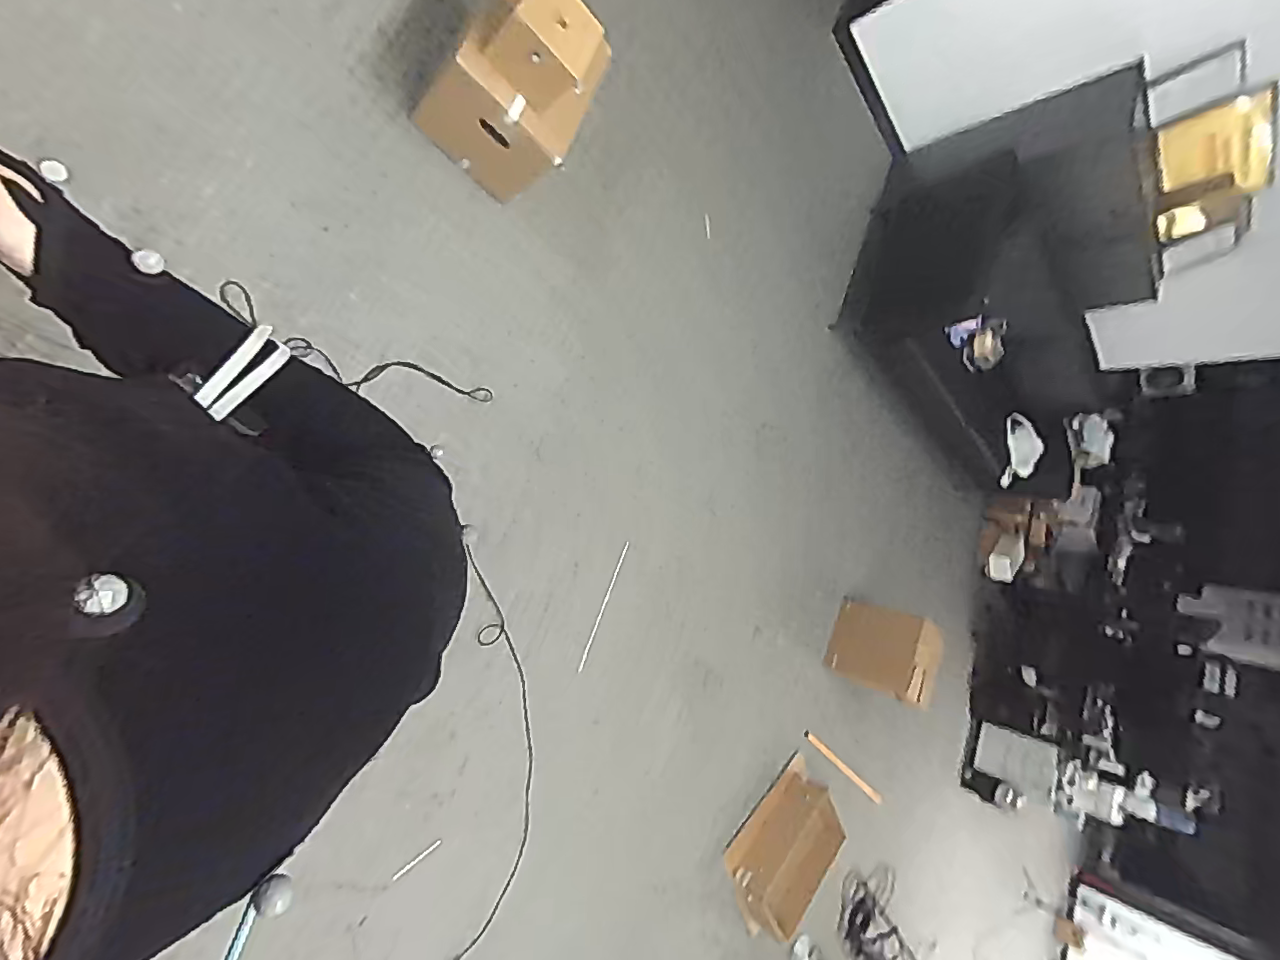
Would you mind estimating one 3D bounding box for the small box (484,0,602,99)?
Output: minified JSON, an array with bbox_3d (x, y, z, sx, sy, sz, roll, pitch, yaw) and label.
[{"bbox_3d":[-0.223,-1.019,1.236,0.179,0.176,0.168,30,74,-36],"label":"small box"}]
